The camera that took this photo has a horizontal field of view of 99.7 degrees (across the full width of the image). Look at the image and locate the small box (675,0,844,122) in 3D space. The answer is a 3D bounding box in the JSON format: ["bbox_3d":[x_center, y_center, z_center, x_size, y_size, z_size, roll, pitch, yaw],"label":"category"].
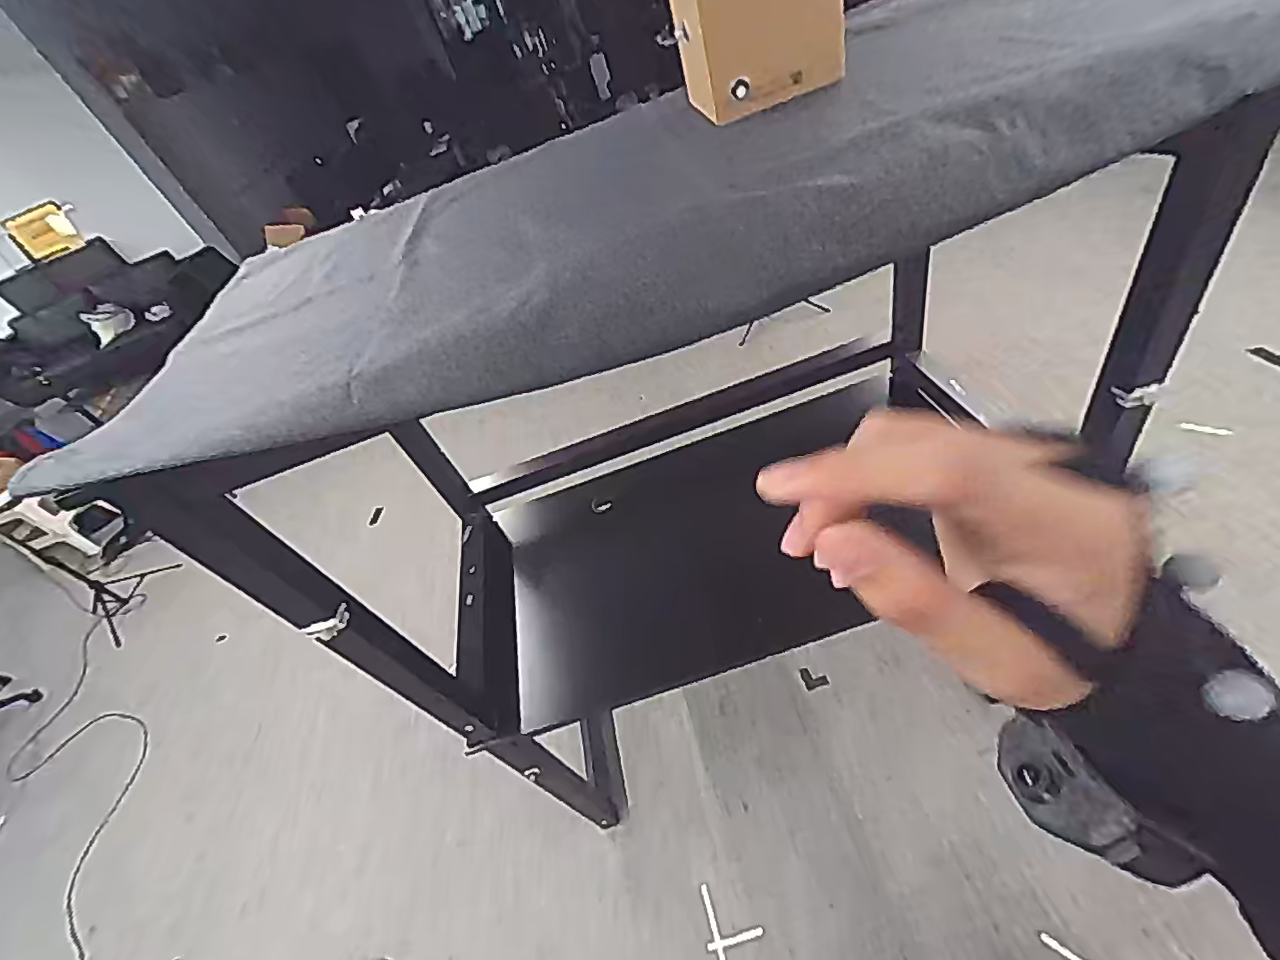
[{"bbox_3d":[0.147,-0.581,0.683,0.168,0.176,0.179,-17,43,6],"label":"small box"}]
